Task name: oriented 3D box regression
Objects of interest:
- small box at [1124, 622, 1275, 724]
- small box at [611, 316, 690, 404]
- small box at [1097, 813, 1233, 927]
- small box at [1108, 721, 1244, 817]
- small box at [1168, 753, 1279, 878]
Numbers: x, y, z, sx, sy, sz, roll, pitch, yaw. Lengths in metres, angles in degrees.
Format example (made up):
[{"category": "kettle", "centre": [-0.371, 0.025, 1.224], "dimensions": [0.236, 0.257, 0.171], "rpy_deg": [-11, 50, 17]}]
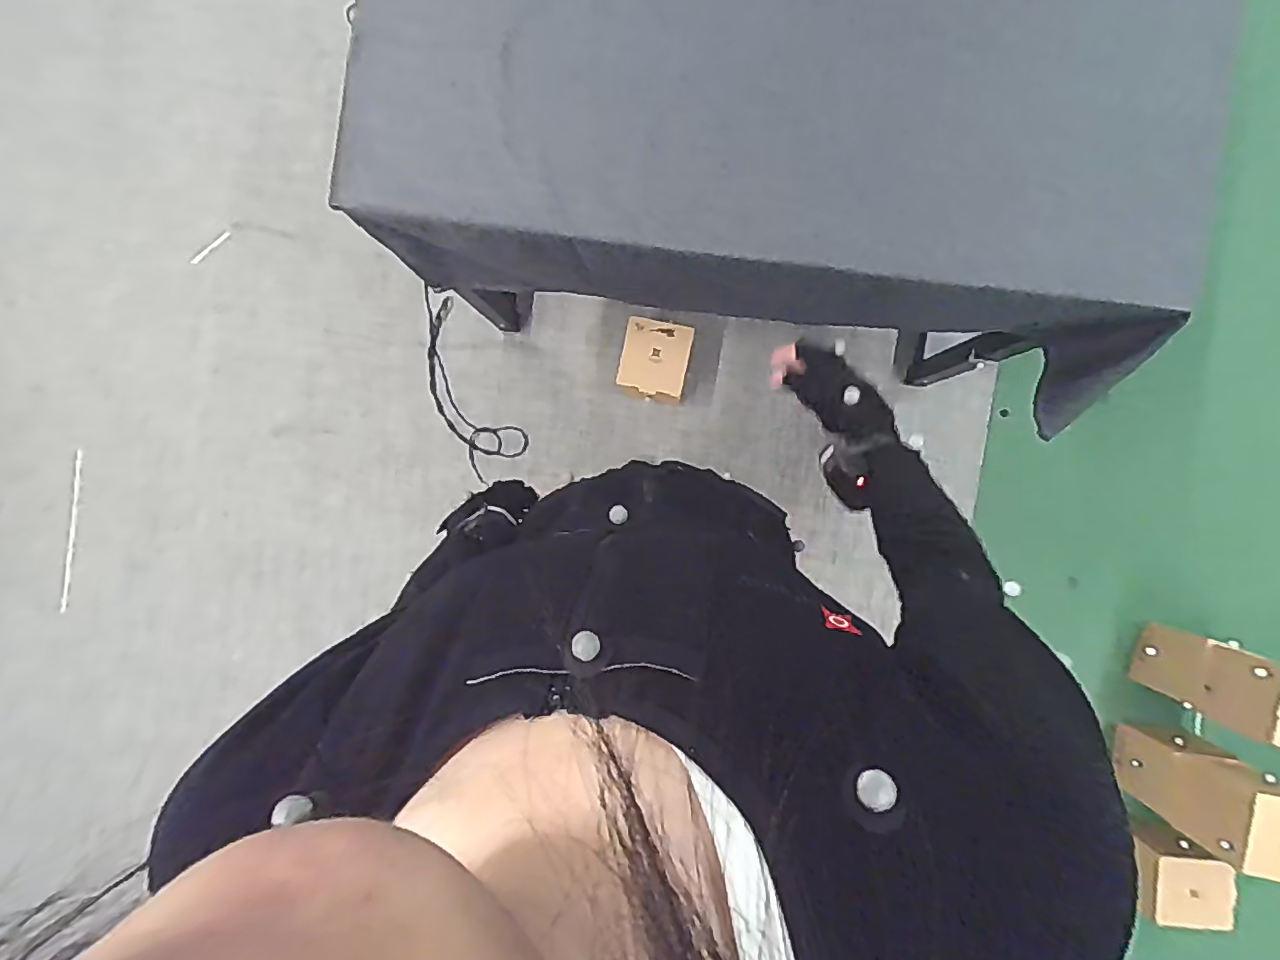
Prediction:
[{"category": "small box", "centre": [1.387, 0.473, 1.354], "dimensions": [0.179, 0.176, 0.168], "rpy_deg": [19, 90, 3]}, {"category": "small box", "centre": [0.030, -0.300, 1.392], "dimensions": [0.168, 0.176, 0.179], "rpy_deg": [12, 91, 2]}, {"category": "small box", "centre": [1.312, 0.972, 1.361], "dimensions": [0.179, 0.176, 0.168], "rpy_deg": [3, 90, 2]}, {"category": "small box", "centre": [1.334, 0.726, 1.357], "dimensions": [0.179, 0.176, 0.168], "rpy_deg": [6, 91, 1]}, {"category": "small box", "centre": [1.332, 0.735, 1.194], "dimensions": [0.168, 0.176, 0.179], "rpy_deg": [9, 91, 2]}]
